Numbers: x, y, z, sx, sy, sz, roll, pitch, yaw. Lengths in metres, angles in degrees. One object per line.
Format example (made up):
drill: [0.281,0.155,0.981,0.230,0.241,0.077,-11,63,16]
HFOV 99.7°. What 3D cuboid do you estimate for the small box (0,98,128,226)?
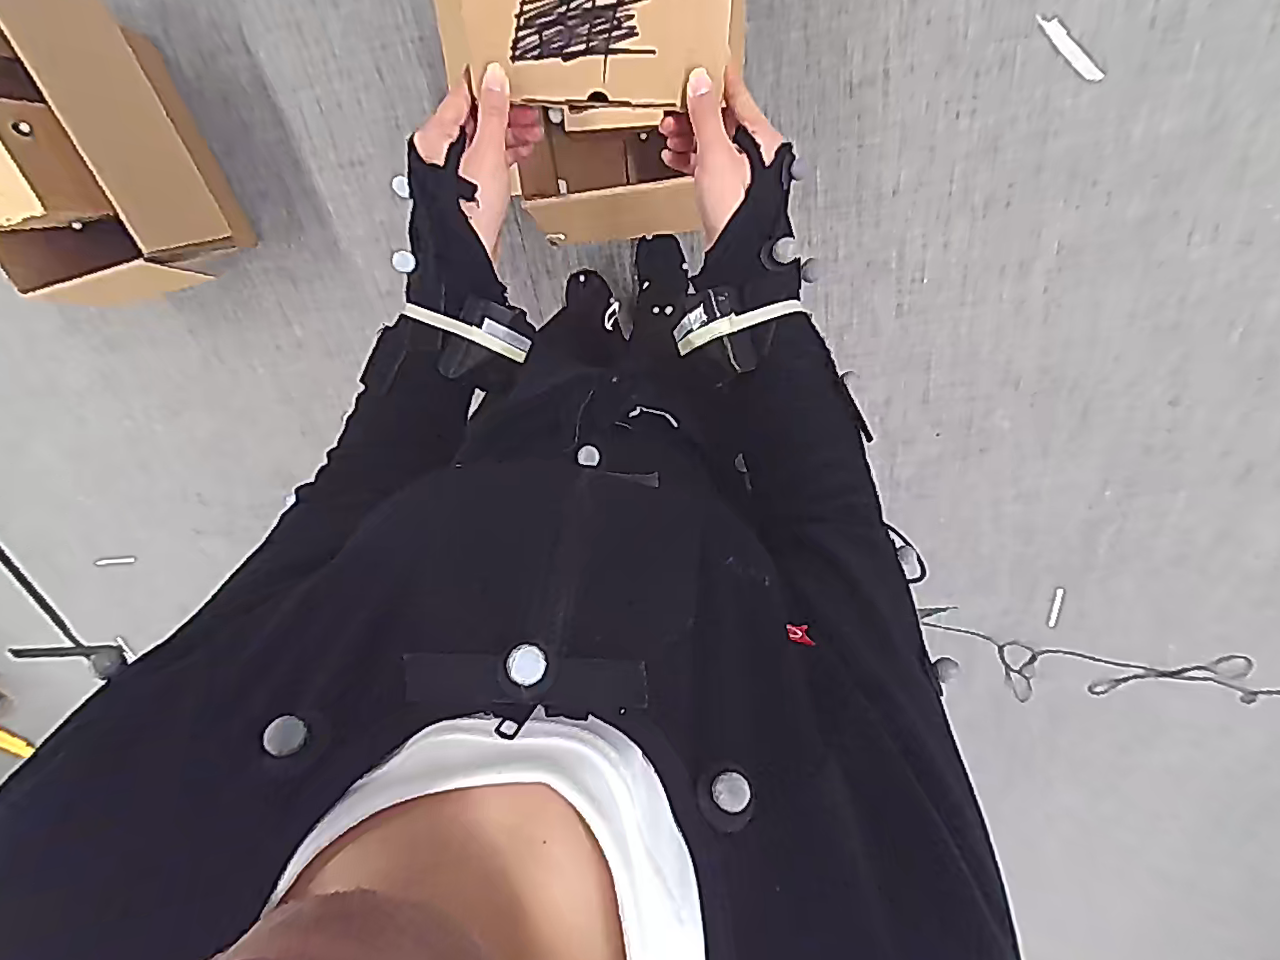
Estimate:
small box: [-1.111,-0.568,0.978,0.168,0.176,0.179,-7,118,10]

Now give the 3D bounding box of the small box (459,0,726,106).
small box: [-0.024,-0.367,0.370,0.168,0.176,0.179,2,124,0]
